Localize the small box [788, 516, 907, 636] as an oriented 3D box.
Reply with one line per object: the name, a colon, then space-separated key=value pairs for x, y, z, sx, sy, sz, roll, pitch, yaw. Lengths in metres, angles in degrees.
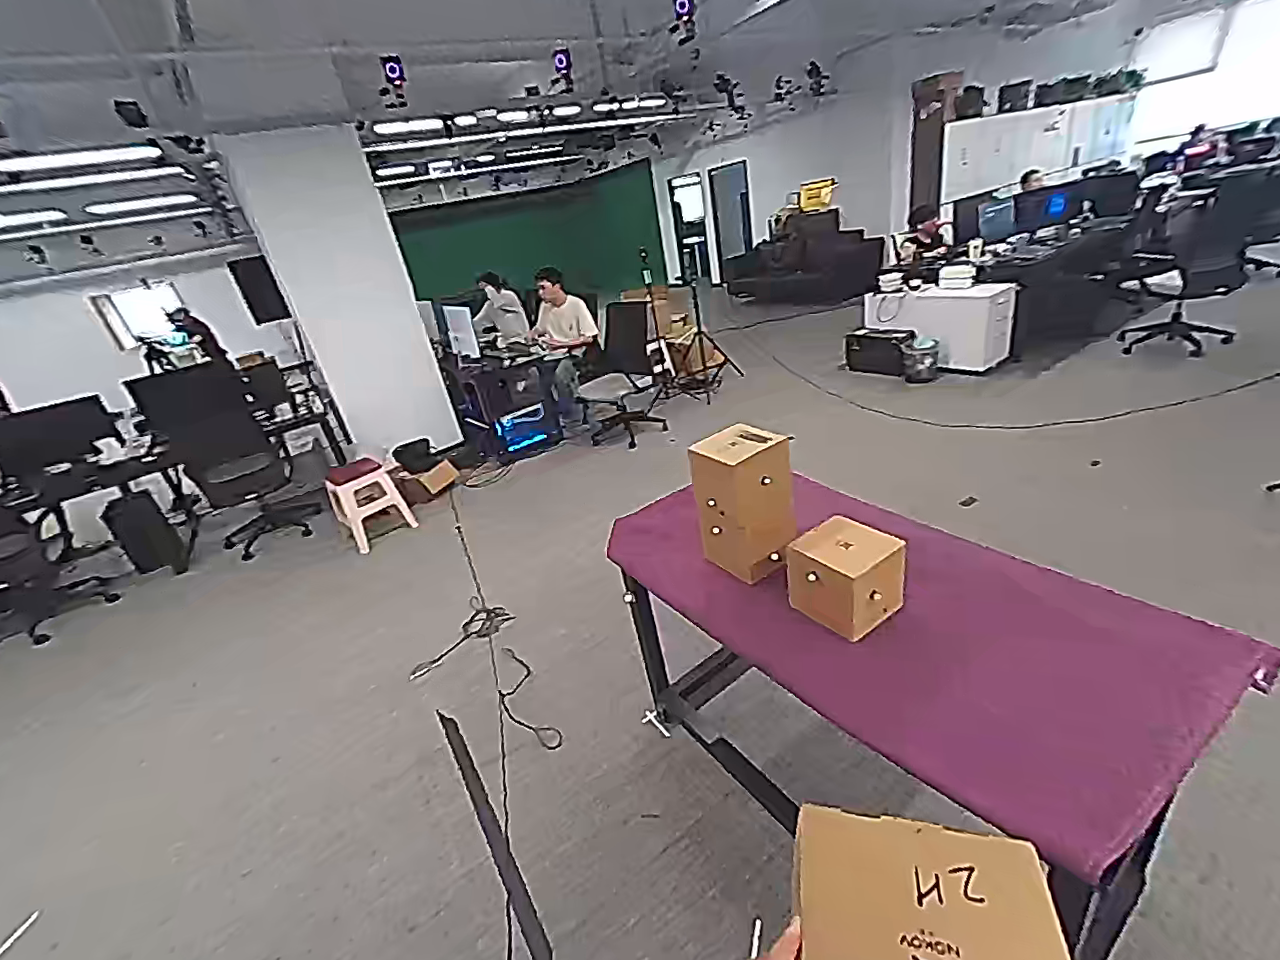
small box: x=0.444 y=0.207 z=1.160 sx=0.168 sy=0.176 sz=0.179 roll=-25 pitch=28 yaw=-25

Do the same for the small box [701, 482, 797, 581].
small box: x=0.280 y=0.130 z=1.381 sx=0.168 sy=0.176 sz=0.179 roll=-25 pitch=30 yaw=-26
